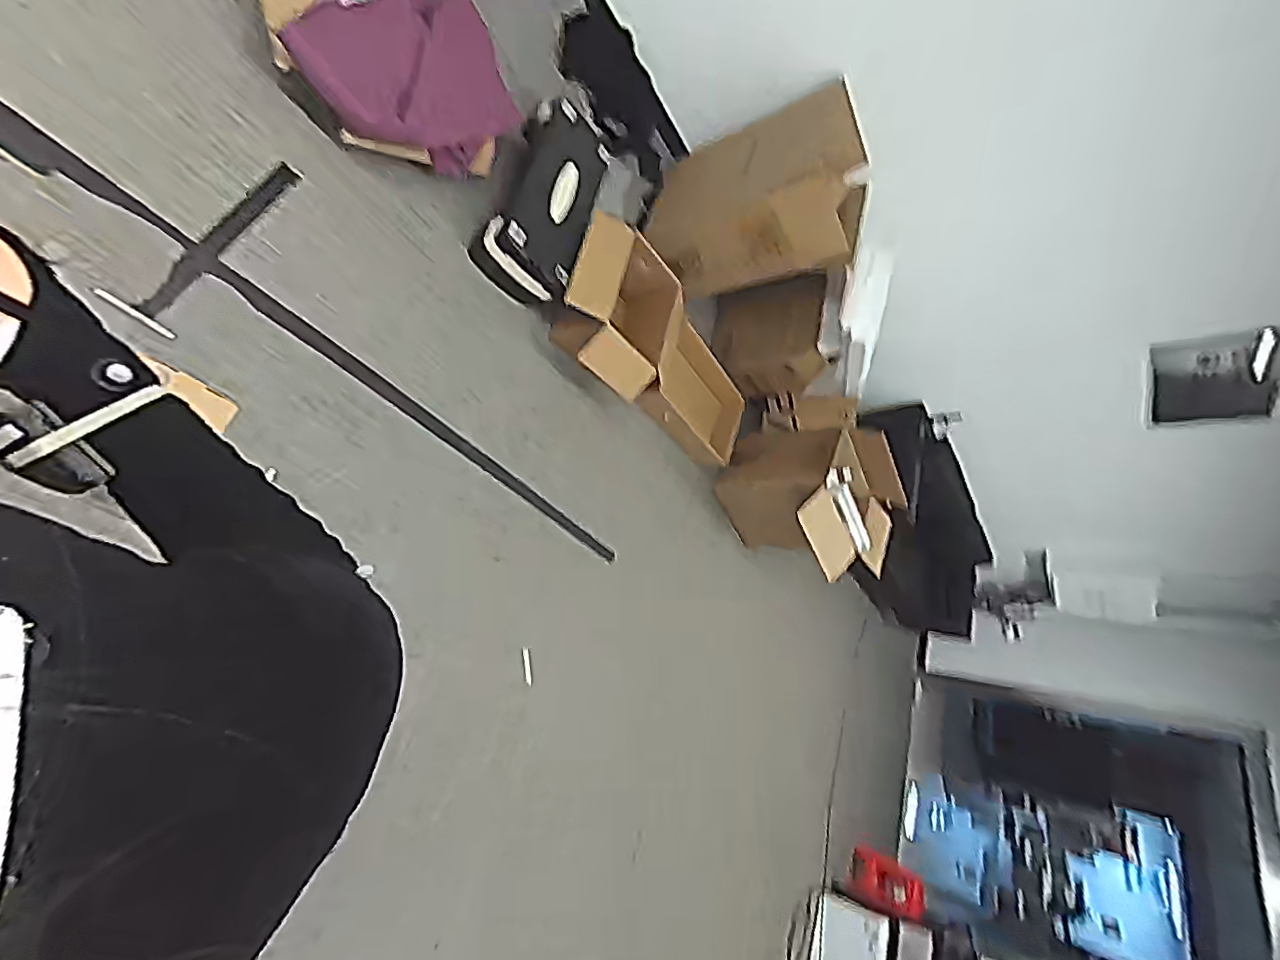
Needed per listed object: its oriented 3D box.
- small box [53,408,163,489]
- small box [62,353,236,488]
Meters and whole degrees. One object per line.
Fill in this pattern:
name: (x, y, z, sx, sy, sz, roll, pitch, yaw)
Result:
small box: (-1.011, -0.092, 1.083, 0.179, 0.176, 0.168, 48, 54, -39)
small box: (-0.888, -0.100, 0.977, 0.168, 0.176, 0.179, 41, 60, -40)
